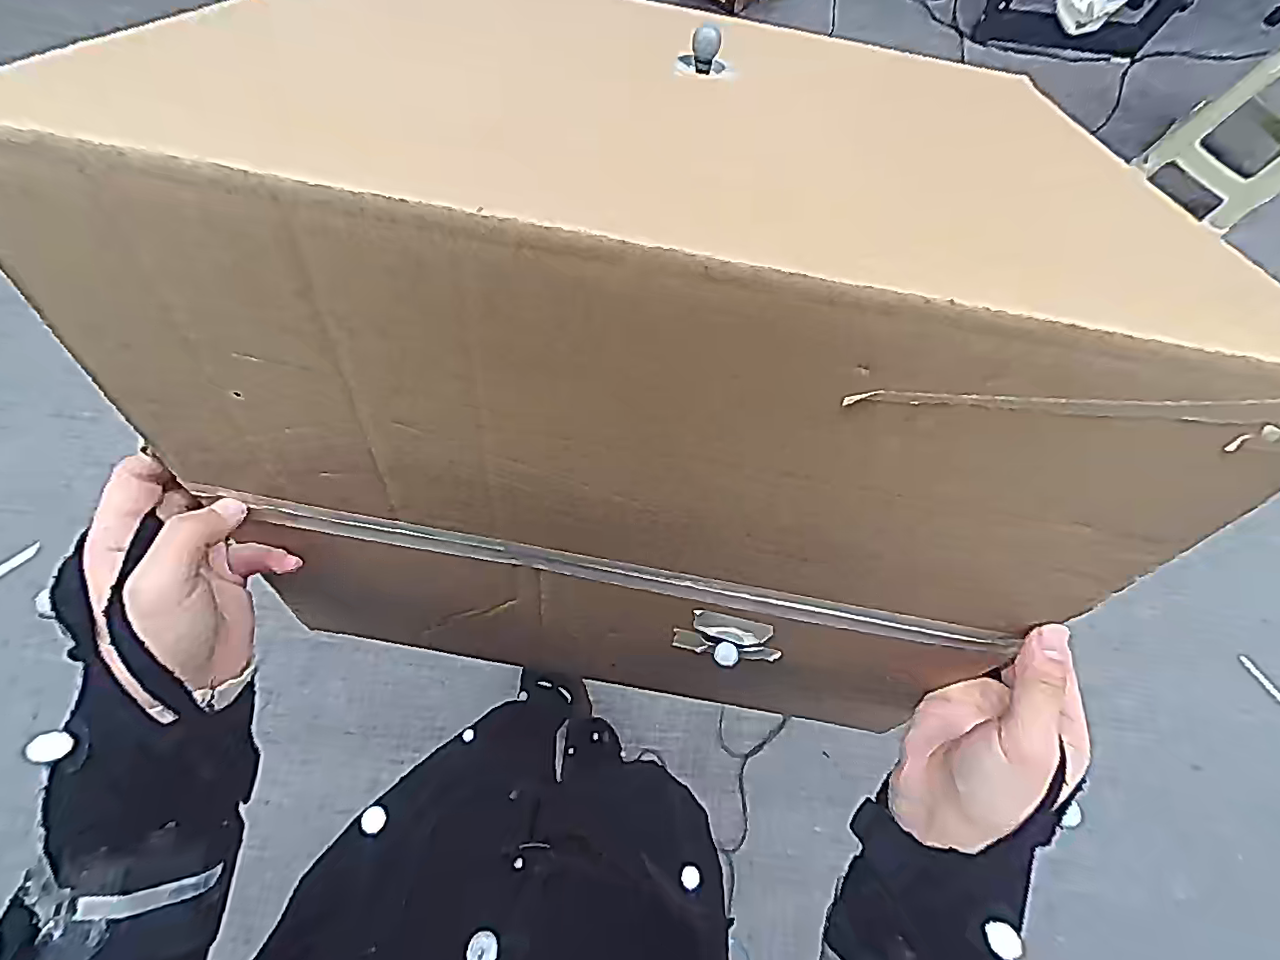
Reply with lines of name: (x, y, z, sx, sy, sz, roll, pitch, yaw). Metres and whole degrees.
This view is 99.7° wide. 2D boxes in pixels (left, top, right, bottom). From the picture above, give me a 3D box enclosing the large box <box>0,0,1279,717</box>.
large box: (0.003, -0.074, 0.363, 0.408, 0.320, 0.320, 10, 51, 0)
